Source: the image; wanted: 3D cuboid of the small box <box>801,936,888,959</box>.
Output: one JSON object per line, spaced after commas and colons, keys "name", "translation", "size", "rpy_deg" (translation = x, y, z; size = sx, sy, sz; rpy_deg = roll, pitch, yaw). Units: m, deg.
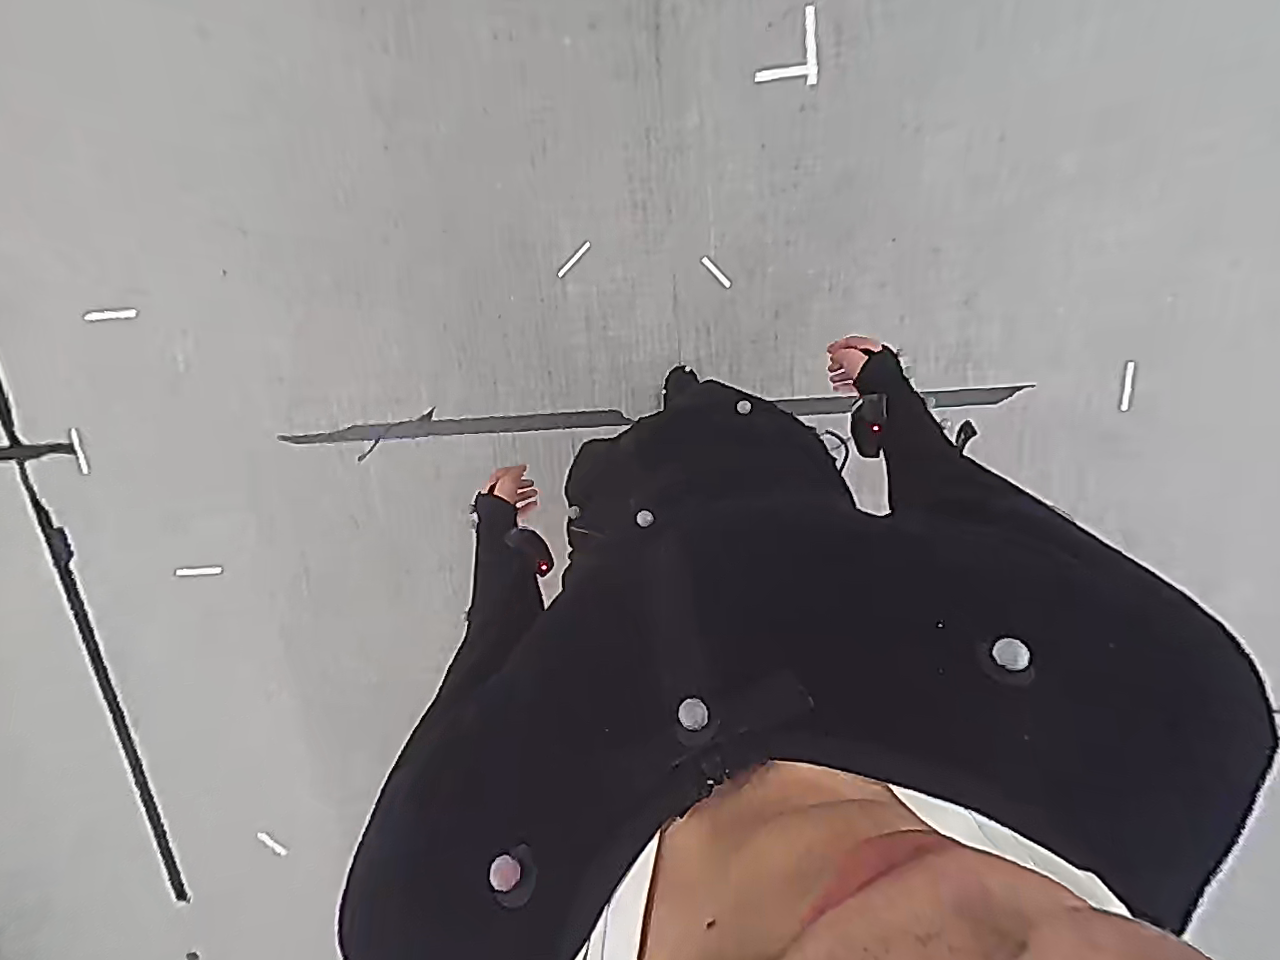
{"name": "small box", "translation": [0.407, 1.017, 1.025], "size": [0.168, 0.176, 0.179], "rpy_deg": [-4, 103, 2]}
